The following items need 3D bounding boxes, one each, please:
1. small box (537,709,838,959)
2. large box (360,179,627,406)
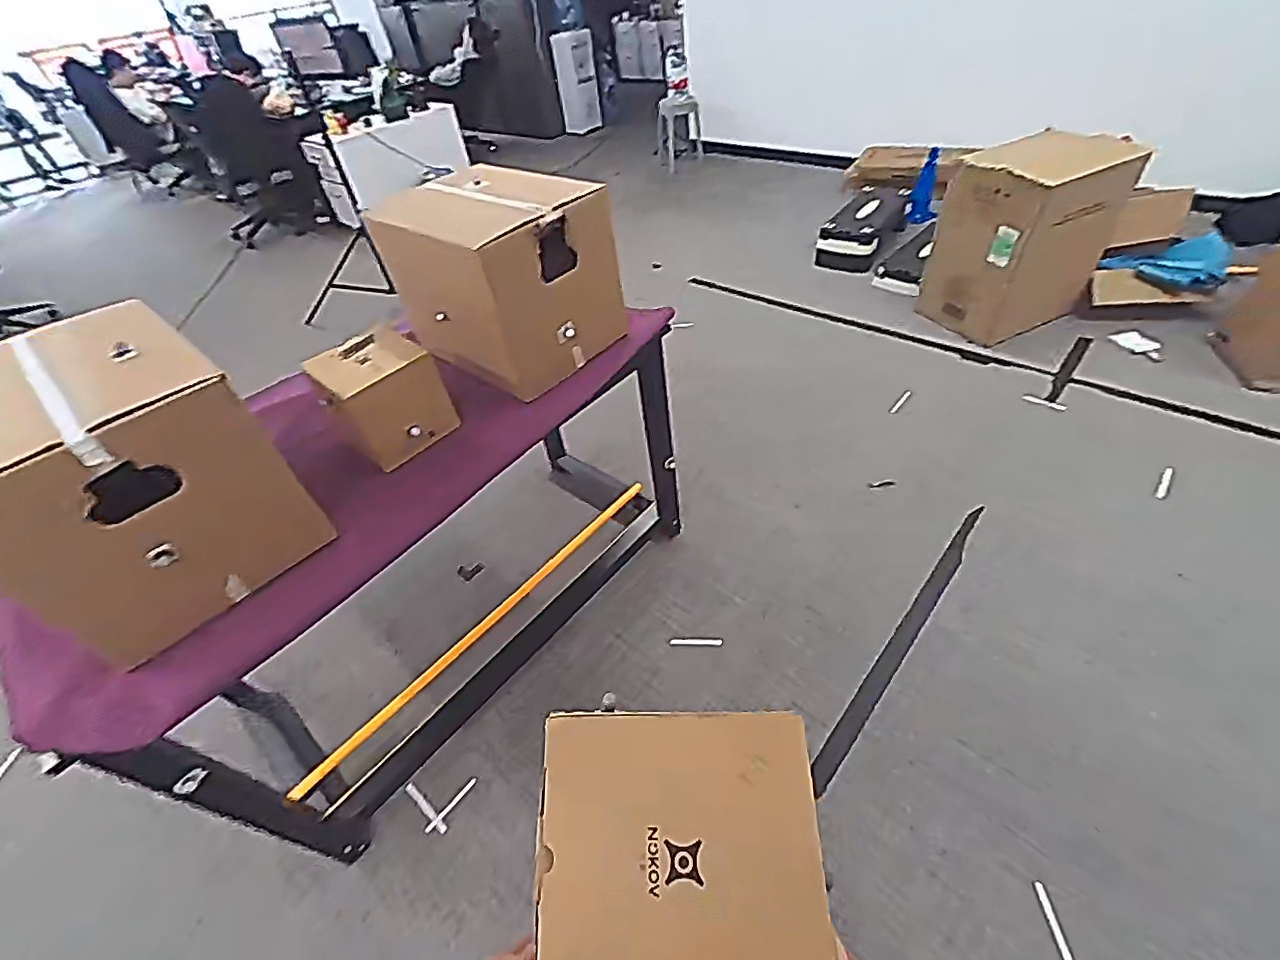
[{"bbox_3d":[0.036,0.261,0.403,0.179,0.176,0.168,-4,65,8],"label":"small box"},{"bbox_3d":[-0.291,-0.407,1.144,0.408,0.320,0.320,27,54,32],"label":"large box"}]
